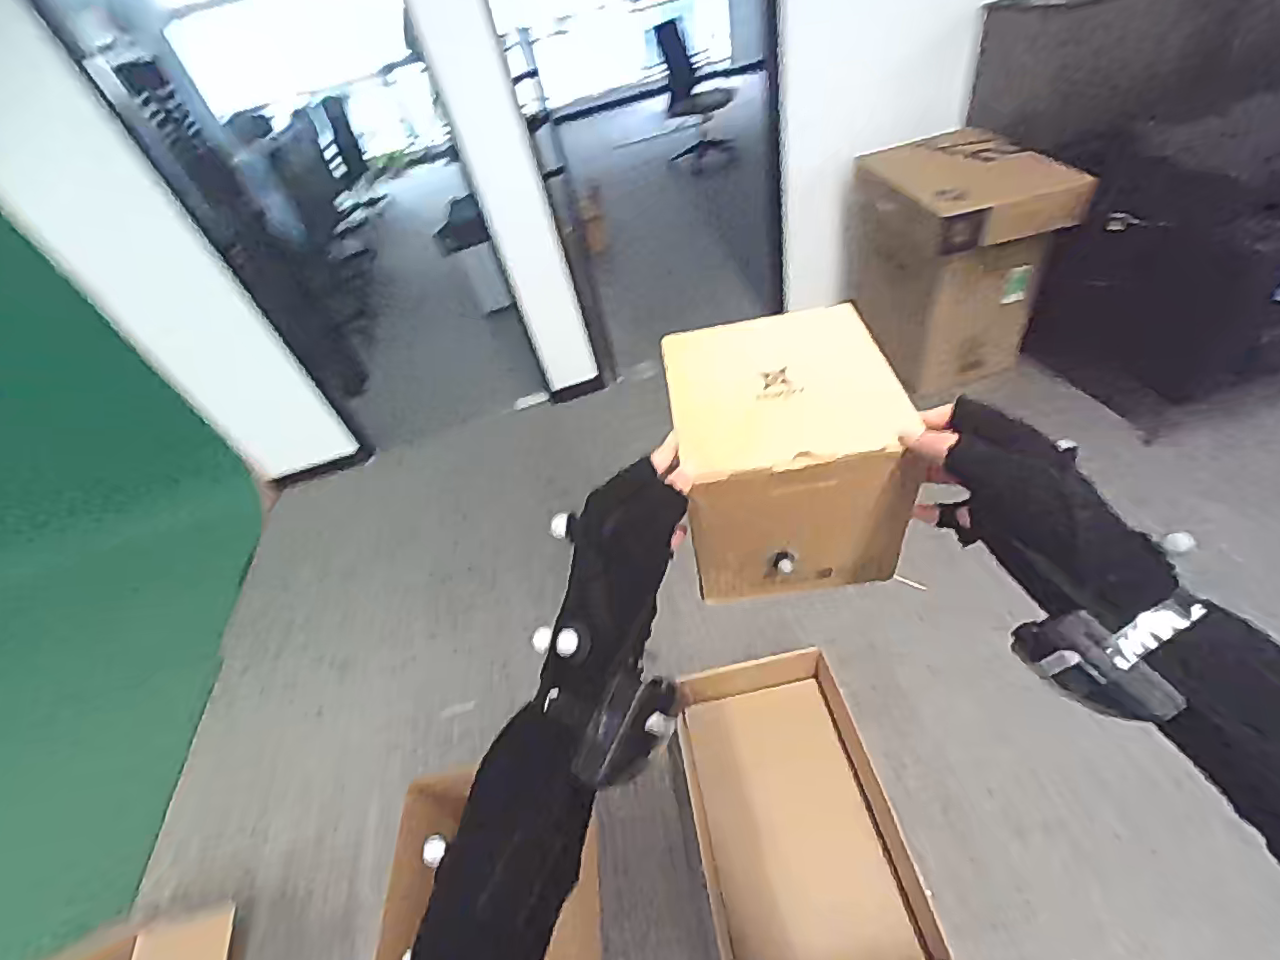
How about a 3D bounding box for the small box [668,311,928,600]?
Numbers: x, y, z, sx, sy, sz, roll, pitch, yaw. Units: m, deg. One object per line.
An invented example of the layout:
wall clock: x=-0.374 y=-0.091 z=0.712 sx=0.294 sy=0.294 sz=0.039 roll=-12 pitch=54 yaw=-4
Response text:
small box: x=0.120 y=-0.019 z=0.475 sx=0.168 sy=0.176 sz=0.179 roll=-9 pitch=47 yaw=6
